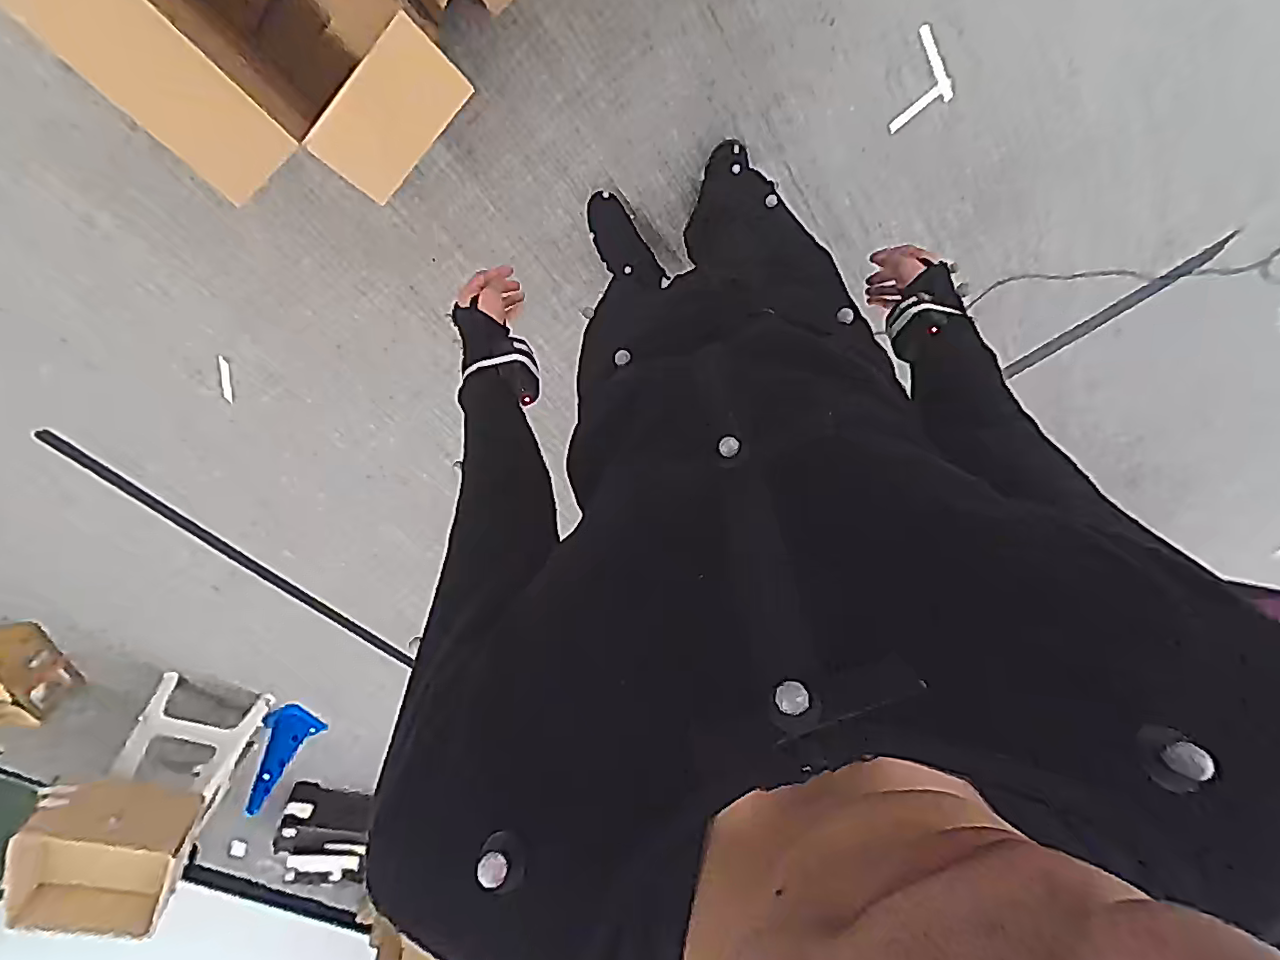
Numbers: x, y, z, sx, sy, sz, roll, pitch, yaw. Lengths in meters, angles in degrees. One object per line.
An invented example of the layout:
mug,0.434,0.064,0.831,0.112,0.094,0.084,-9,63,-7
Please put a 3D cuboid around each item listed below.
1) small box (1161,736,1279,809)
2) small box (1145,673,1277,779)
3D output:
small box,1.667,0.797,1.550,0.179,0.176,0.168,-37,119,16
small box,1.512,0.649,1.437,0.179,0.176,0.168,-35,119,14
